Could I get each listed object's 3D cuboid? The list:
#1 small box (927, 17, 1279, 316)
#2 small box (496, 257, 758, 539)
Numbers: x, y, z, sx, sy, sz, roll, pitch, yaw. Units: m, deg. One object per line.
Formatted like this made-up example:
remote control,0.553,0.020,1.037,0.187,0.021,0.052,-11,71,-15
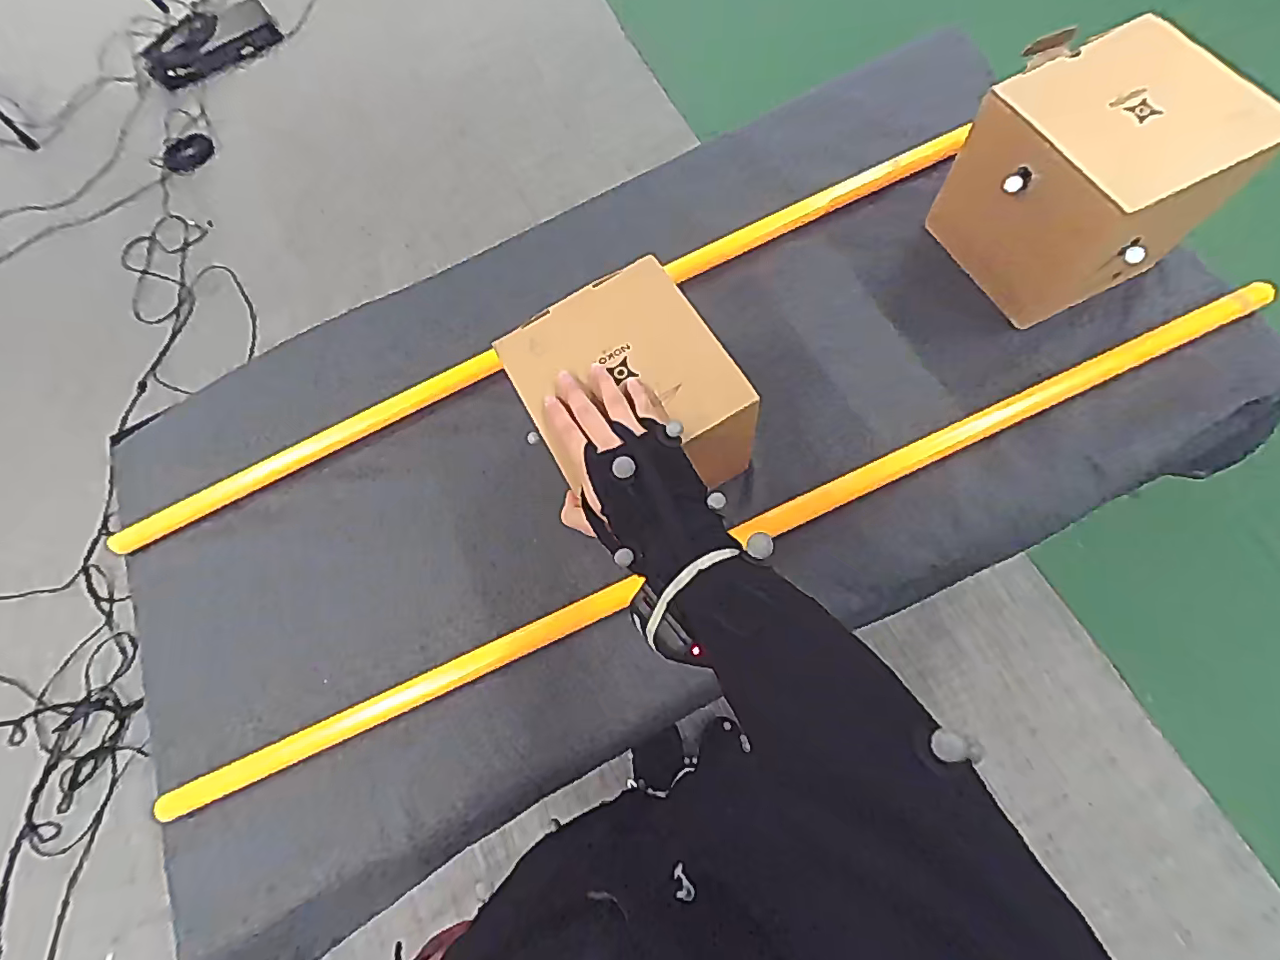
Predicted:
small box,0.432,-0.293,0.542,0.168,0.176,0.179,-26,69,-1
small box,-0.007,-0.067,0.525,0.168,0.176,0.179,-31,70,-3
